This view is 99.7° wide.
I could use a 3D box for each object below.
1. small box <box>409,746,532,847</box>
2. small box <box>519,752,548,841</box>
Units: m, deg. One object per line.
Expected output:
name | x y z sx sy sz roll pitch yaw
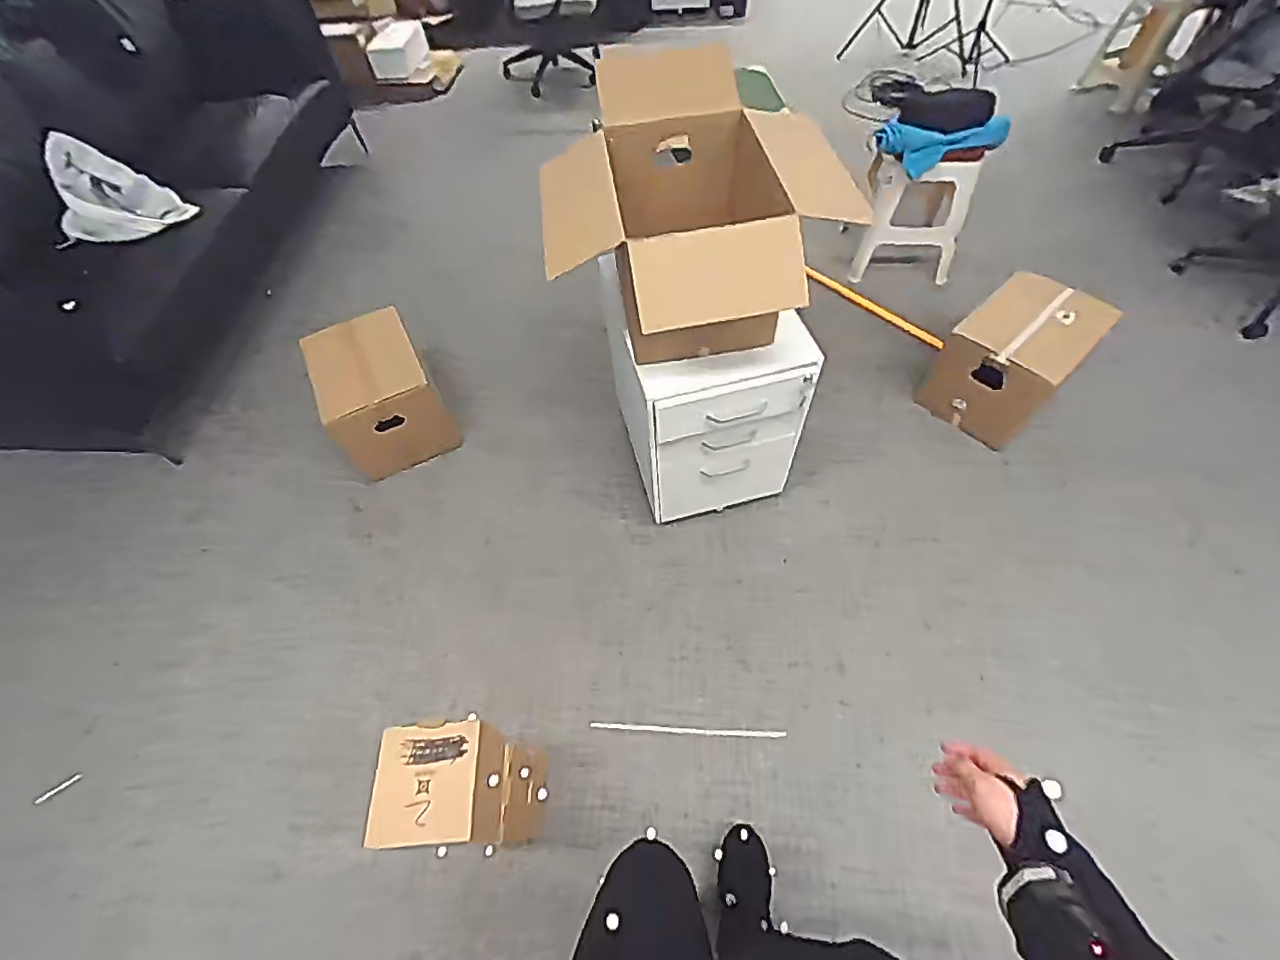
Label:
small box | -0.323 0.630 1.076 0.179 0.176 0.168 -4 56 4
small box | -0.313 0.710 1.218 0.179 0.176 0.168 0 57 4
